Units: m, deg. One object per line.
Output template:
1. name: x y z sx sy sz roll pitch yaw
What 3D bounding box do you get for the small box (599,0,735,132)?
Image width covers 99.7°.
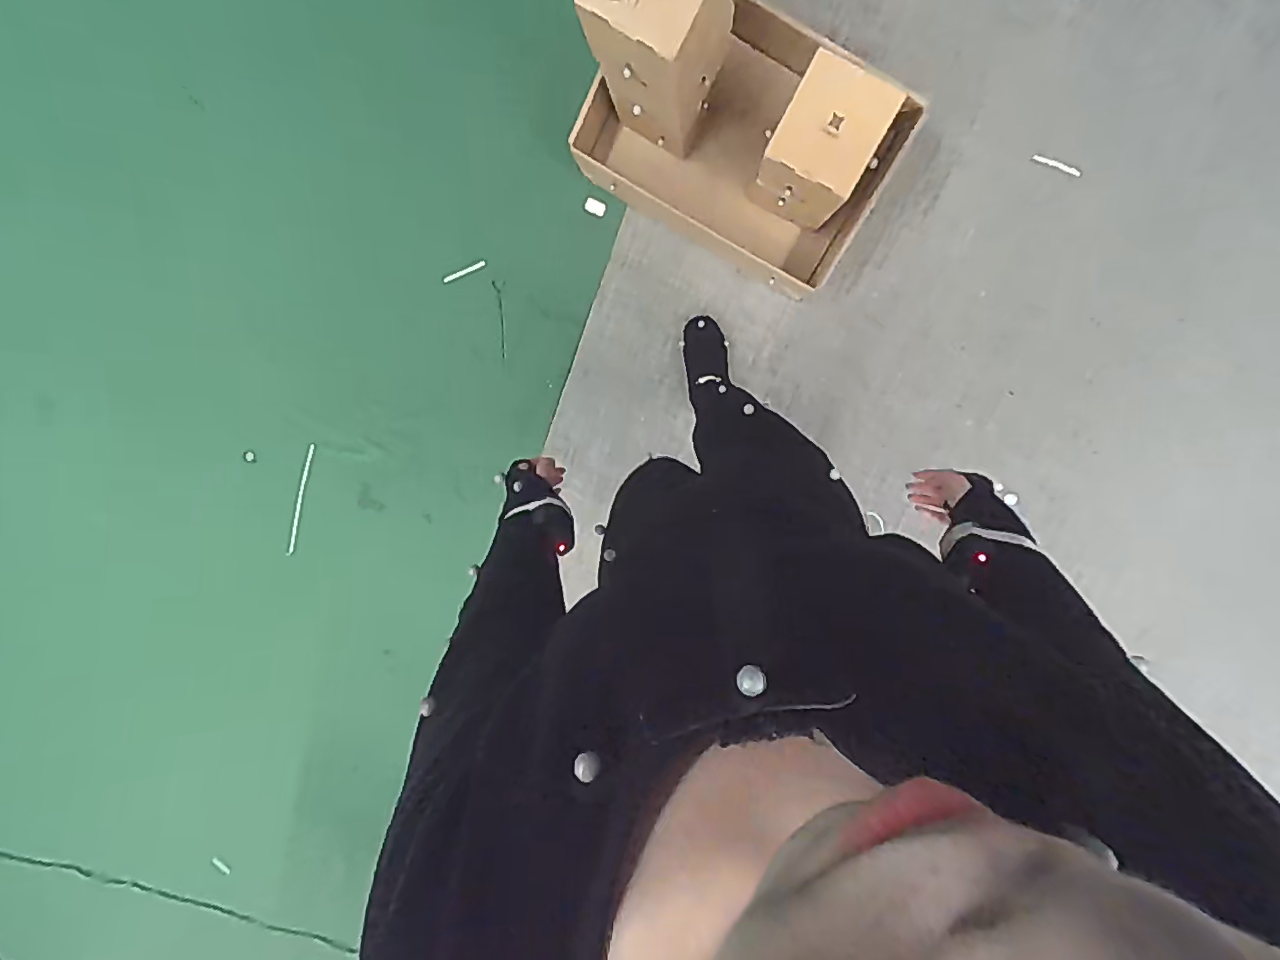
1. small box: 0.048 -0.769 0.962 0.168 0.176 0.179 32 108 -4

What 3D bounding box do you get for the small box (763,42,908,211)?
1. small box: 0.334 -0.617 0.970 0.168 0.176 0.179 28 108 -1
